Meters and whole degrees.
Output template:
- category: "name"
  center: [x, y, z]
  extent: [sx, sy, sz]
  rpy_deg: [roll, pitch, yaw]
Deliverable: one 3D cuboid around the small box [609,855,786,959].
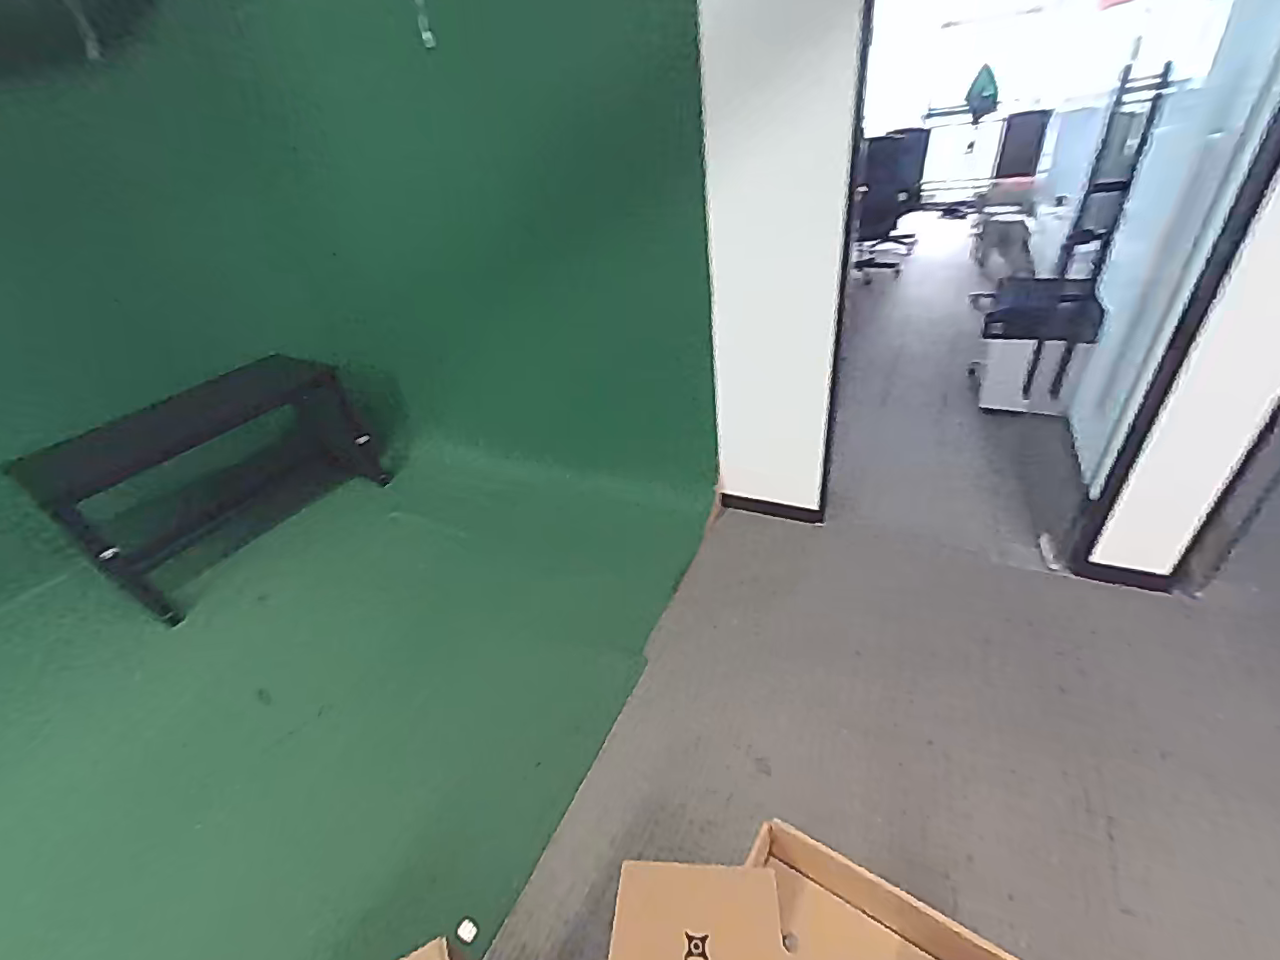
- category: "small box"
  center: [0.060, 0.516, 0.532]
  extent: [0.168, 0.176, 0.179]
  rpy_deg: [-3, 20, 8]
